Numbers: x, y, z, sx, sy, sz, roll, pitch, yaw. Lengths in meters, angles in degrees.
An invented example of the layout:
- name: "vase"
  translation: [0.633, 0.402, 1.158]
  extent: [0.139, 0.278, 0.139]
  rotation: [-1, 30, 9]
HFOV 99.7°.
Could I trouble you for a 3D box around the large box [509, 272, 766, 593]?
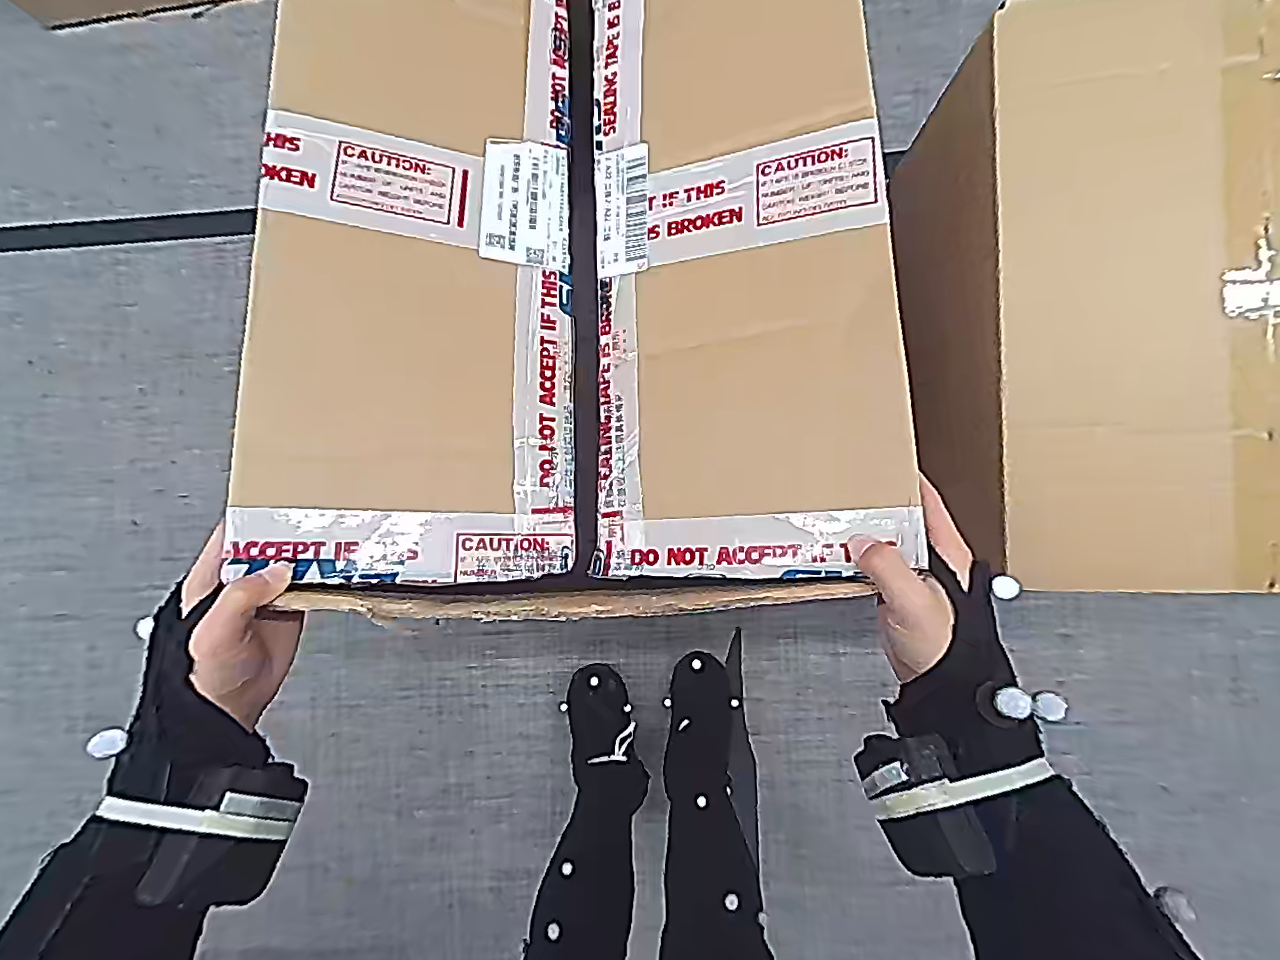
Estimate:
- name: "large box"
  translation: [-0.002, -0.061, 0.846]
  extent: [0.320, 0.320, 0.408]
  rotation: [-4, 89, 2]
